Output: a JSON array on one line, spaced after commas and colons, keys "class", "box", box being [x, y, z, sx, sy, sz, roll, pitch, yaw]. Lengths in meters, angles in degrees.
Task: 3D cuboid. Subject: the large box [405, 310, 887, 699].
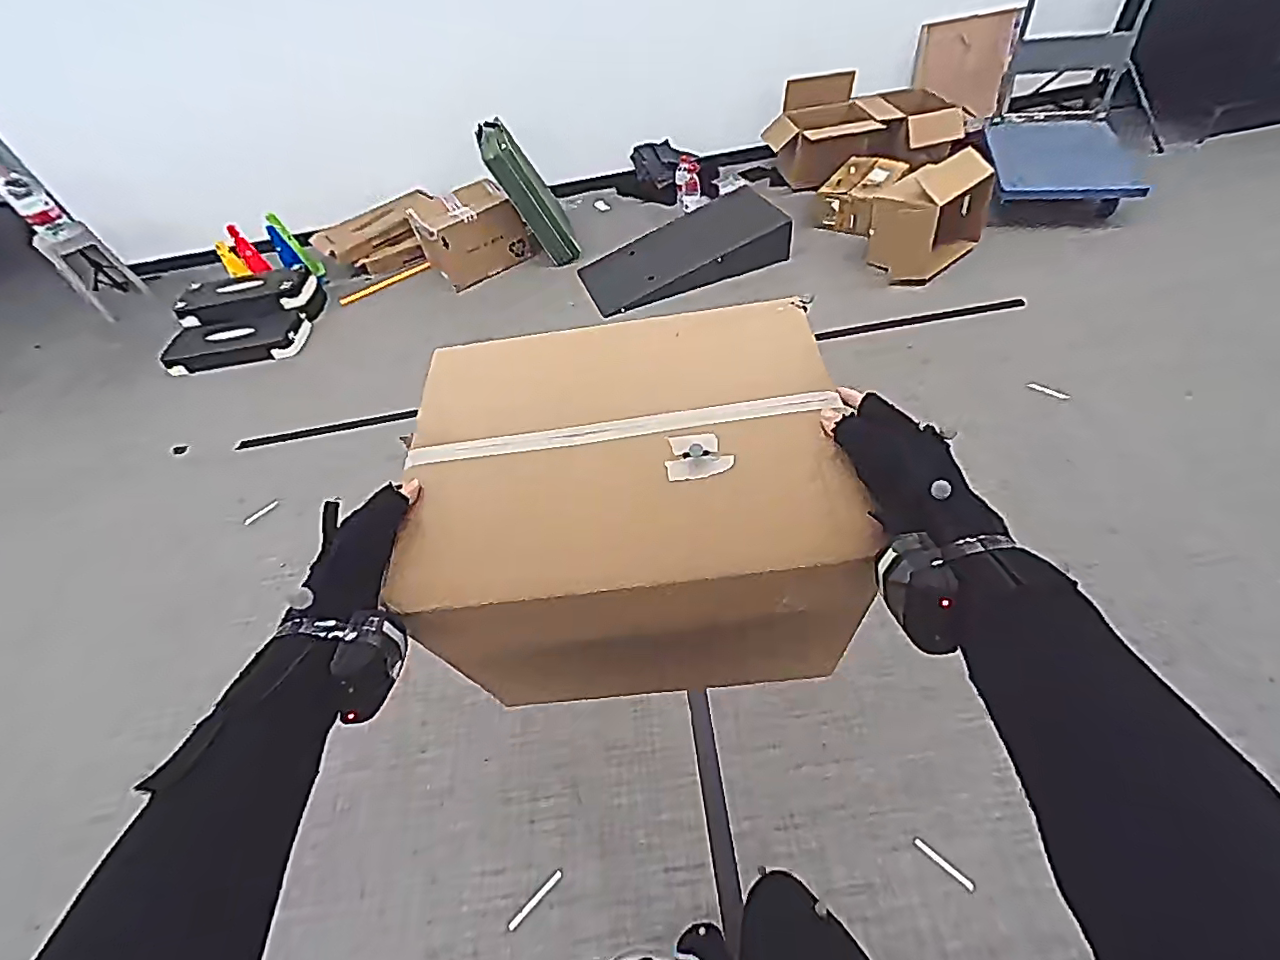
[{"class": "large box", "box": [0.005, 0.044, 0.640, 0.408, 0.320, 0.320, -7, 55, 3]}]
